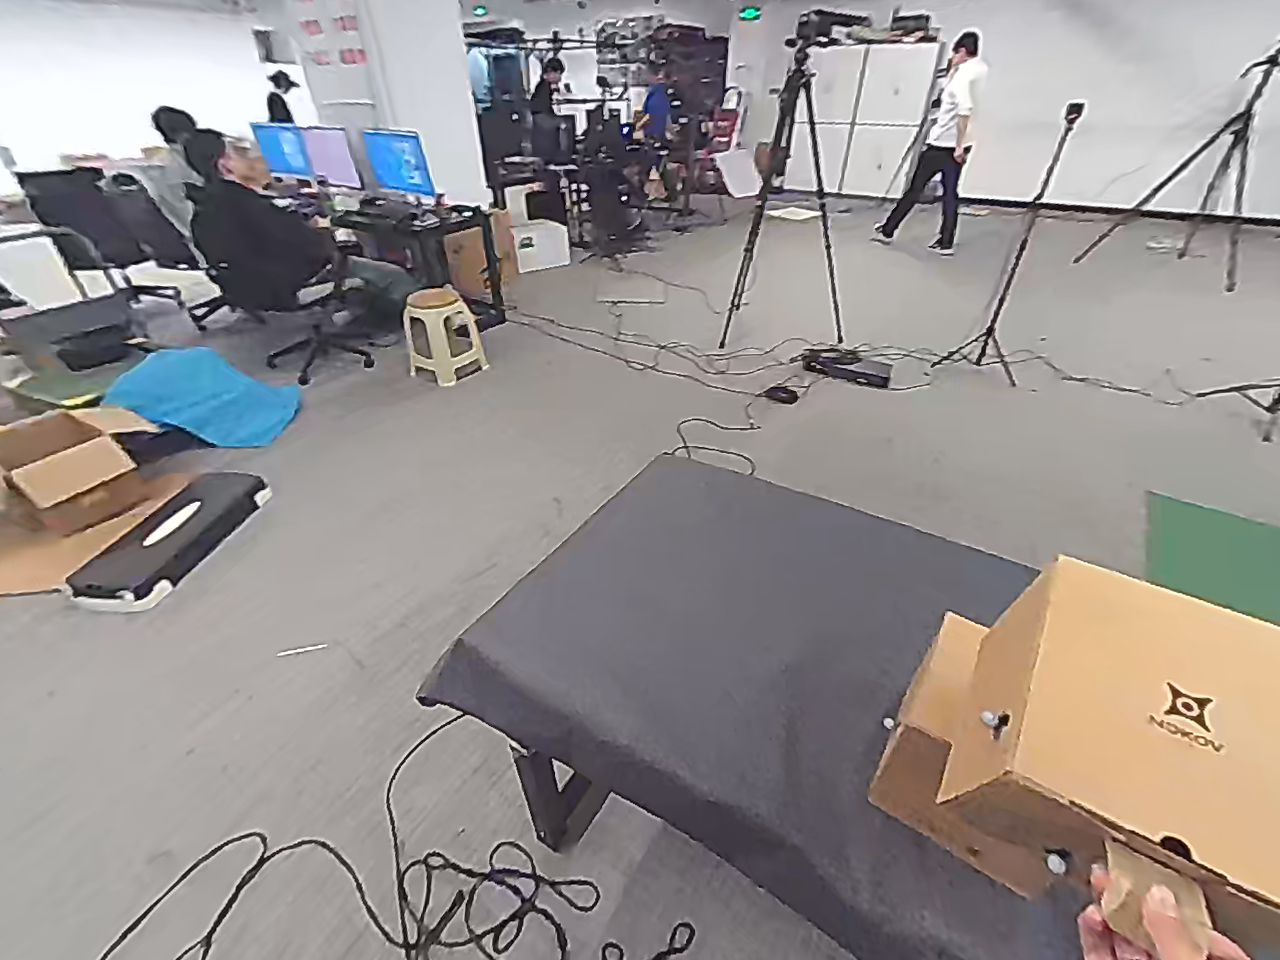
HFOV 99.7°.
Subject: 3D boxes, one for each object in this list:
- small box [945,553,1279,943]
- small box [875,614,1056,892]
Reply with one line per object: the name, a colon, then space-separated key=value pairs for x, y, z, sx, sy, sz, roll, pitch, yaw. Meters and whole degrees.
small box: x=0.354 y=0.192 z=0.403 sx=0.168 sy=0.176 sz=0.179 roll=22 pitch=61 yaw=25
small box: x=0.375 y=0.290 z=0.587 sx=0.168 sy=0.176 sz=0.179 roll=24 pitch=41 yaw=28
